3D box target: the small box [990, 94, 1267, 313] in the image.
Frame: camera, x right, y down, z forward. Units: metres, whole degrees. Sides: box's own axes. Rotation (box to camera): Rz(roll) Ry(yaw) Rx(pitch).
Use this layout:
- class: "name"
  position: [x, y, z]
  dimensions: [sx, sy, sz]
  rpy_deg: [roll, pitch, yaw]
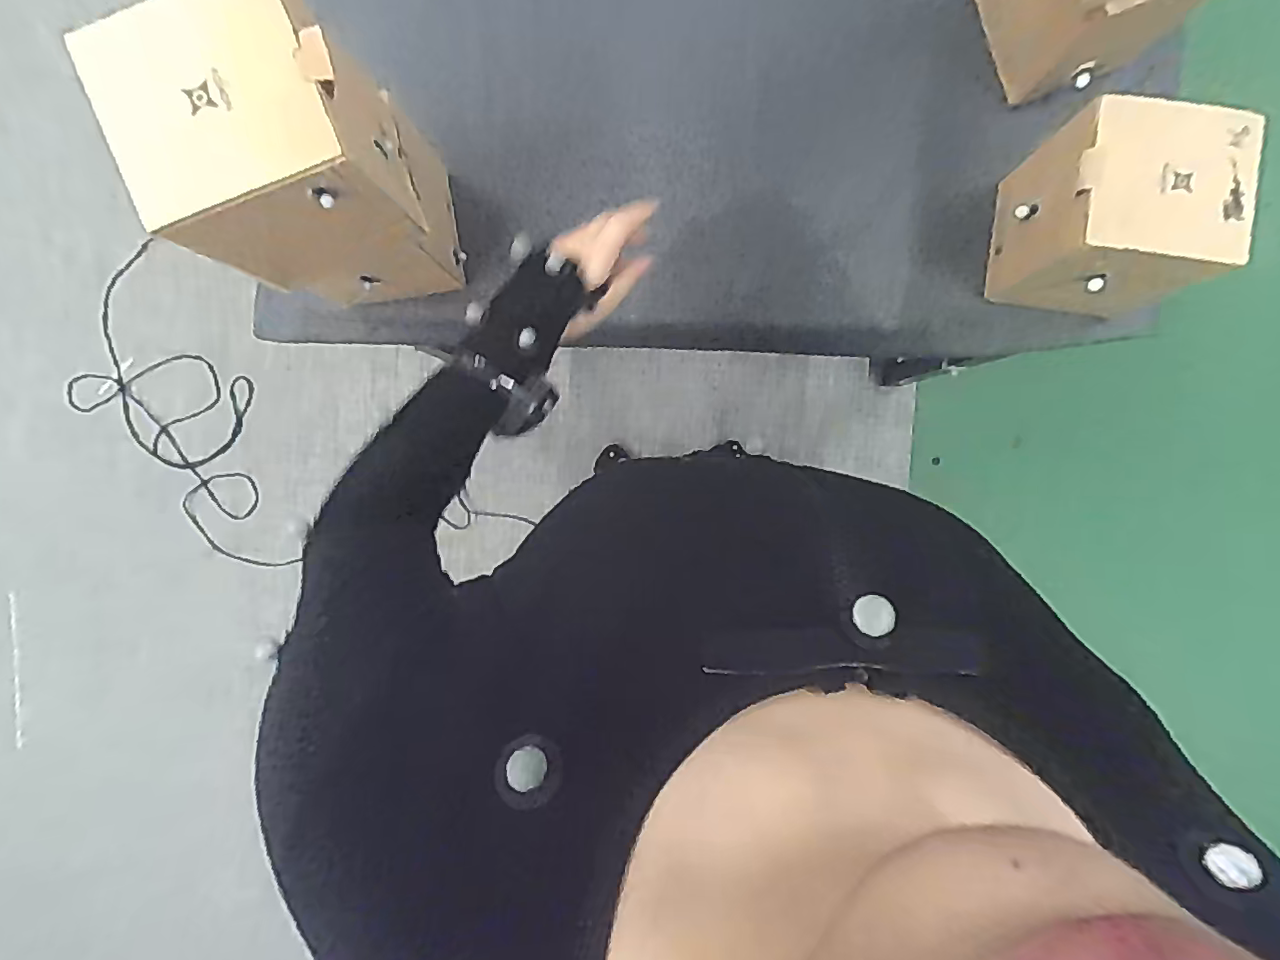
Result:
- class: "small box"
  position: [0.557, -0.312, 0.643]
  dimensions: [0.179, 0.176, 0.168]
  rpy_deg: [8, 89, 2]

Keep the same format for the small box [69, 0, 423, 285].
- class: "small box"
  position: [-0.340, -0.307, 0.505]
  dimensions: [0.179, 0.176, 0.168]
  rpy_deg: [-21, 93, 2]

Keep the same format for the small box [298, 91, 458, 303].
- class: "small box"
  position: [-0.339, -0.331, 0.666]
  dimensions: [0.179, 0.176, 0.168]
  rpy_deg: [-9, 93, 2]

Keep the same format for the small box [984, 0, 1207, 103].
- class: "small box"
  position: [0.541, -0.600, 0.633]
  dimensions: [0.168, 0.176, 0.179]
  rpy_deg: [-20, 94, 5]
